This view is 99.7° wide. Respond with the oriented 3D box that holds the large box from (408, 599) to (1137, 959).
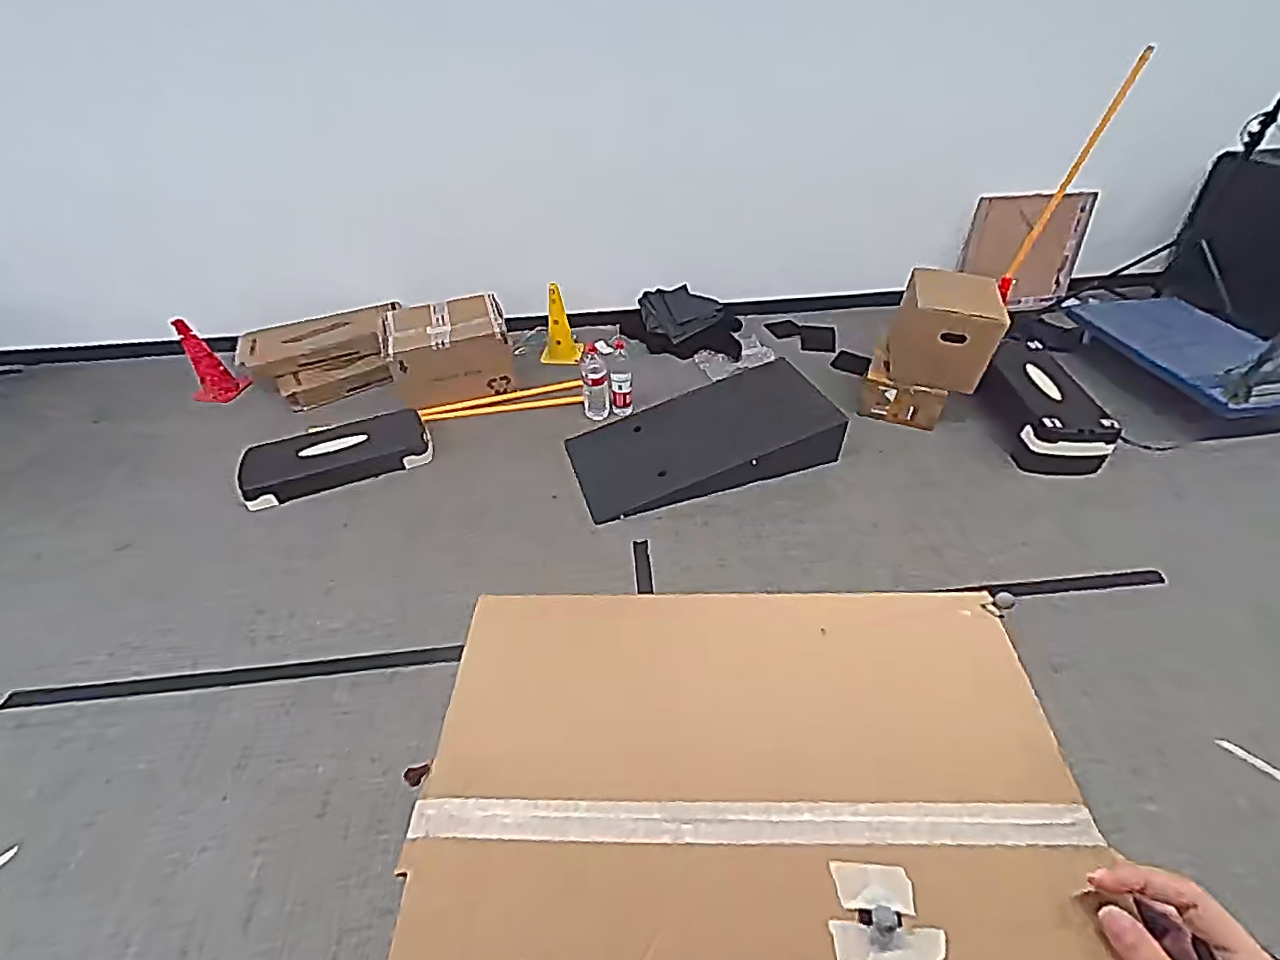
[{"bbox_3d":[0.073,0.314,0.448,0.408,0.320,0.320,-1,49,2],"label":"large box"}]
